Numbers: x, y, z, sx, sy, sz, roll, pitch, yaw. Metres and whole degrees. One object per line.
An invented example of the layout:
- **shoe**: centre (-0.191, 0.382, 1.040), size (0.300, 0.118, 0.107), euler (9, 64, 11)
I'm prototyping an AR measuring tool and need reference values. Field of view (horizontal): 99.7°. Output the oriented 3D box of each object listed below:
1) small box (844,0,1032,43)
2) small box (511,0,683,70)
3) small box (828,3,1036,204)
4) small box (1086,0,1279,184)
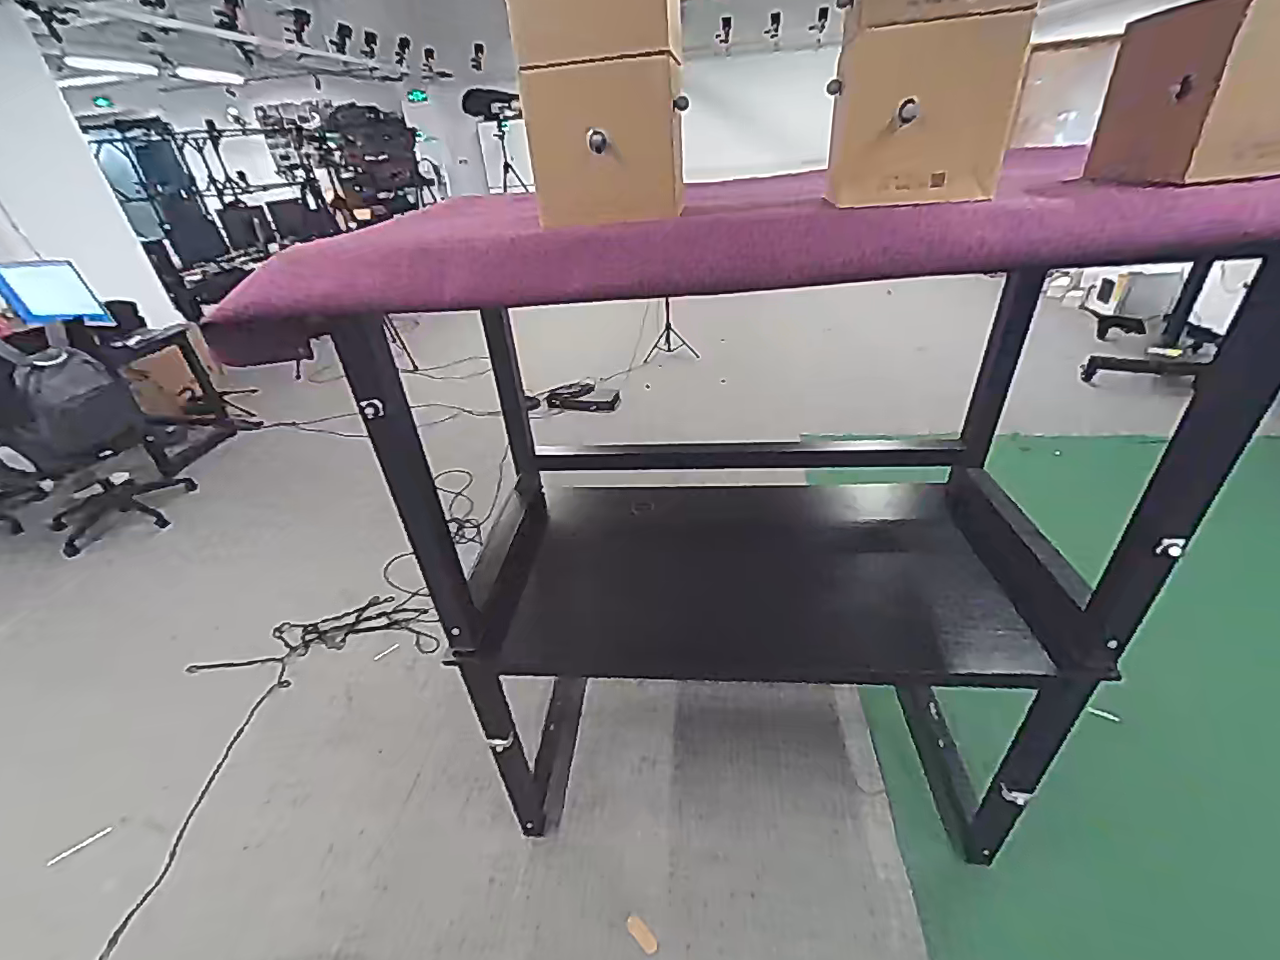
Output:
- **small box**: centre (0.314, -0.569, 0.558), size (0.168, 0.176, 0.179), euler (3, 32, 12)
- **small box**: centre (-0.044, -0.576, 0.608), size (0.179, 0.176, 0.168), euler (1, 32, 9)
- **small box**: centre (0.323, -0.428, 0.642), size (0.168, 0.176, 0.179), euler (3, 31, 11)
- **small box**: centre (0.664, -0.437, 0.609), size (0.168, 0.176, 0.179), euler (-1, 30, 5)
